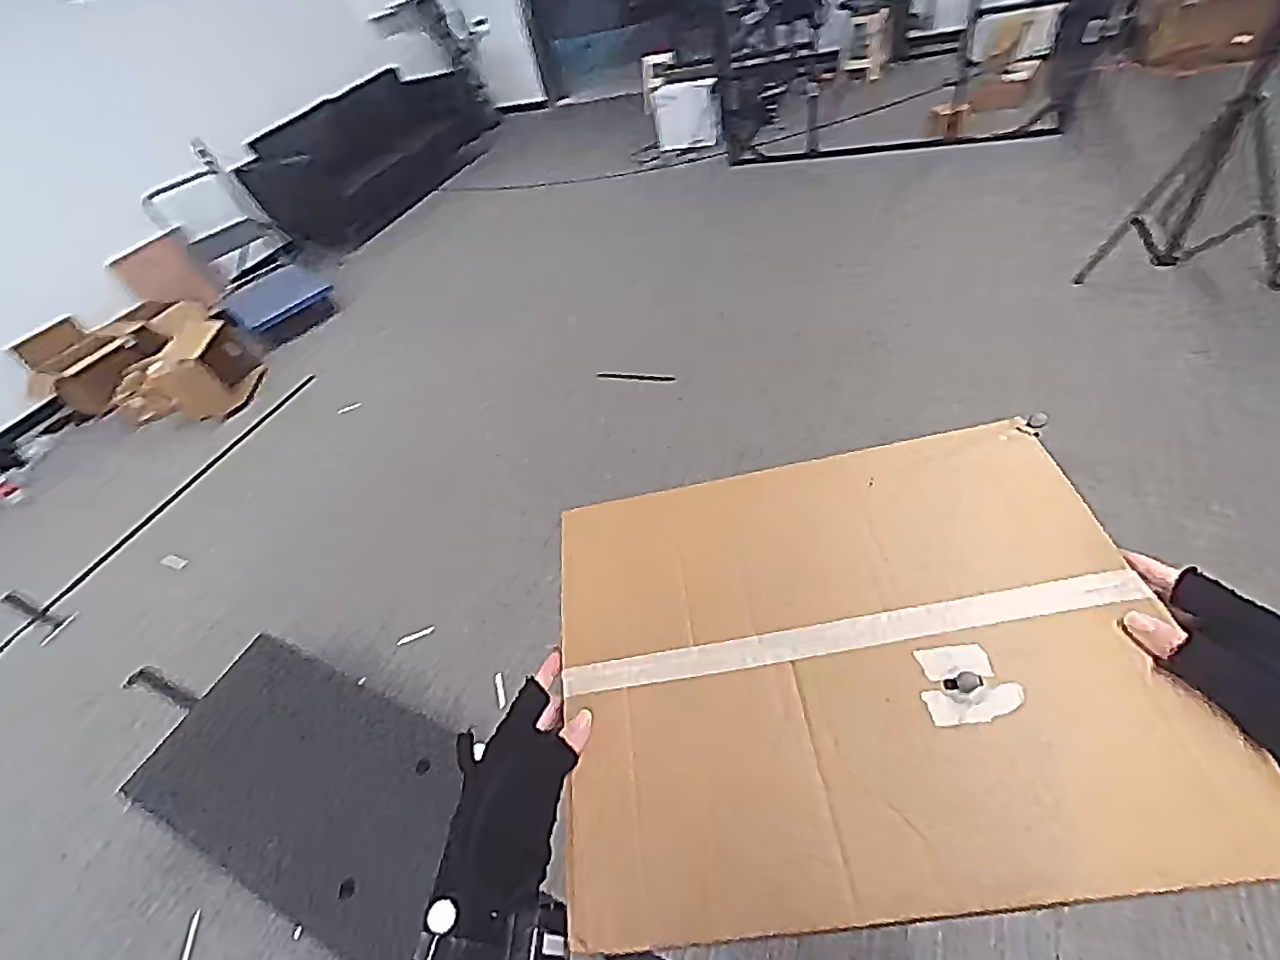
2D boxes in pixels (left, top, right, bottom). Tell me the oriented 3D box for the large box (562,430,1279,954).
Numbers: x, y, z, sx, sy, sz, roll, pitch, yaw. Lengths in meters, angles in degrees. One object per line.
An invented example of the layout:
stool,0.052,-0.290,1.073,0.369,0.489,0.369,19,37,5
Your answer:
large box,0.166,0.205,0.514,0.408,0.320,0.320,-12,53,5
